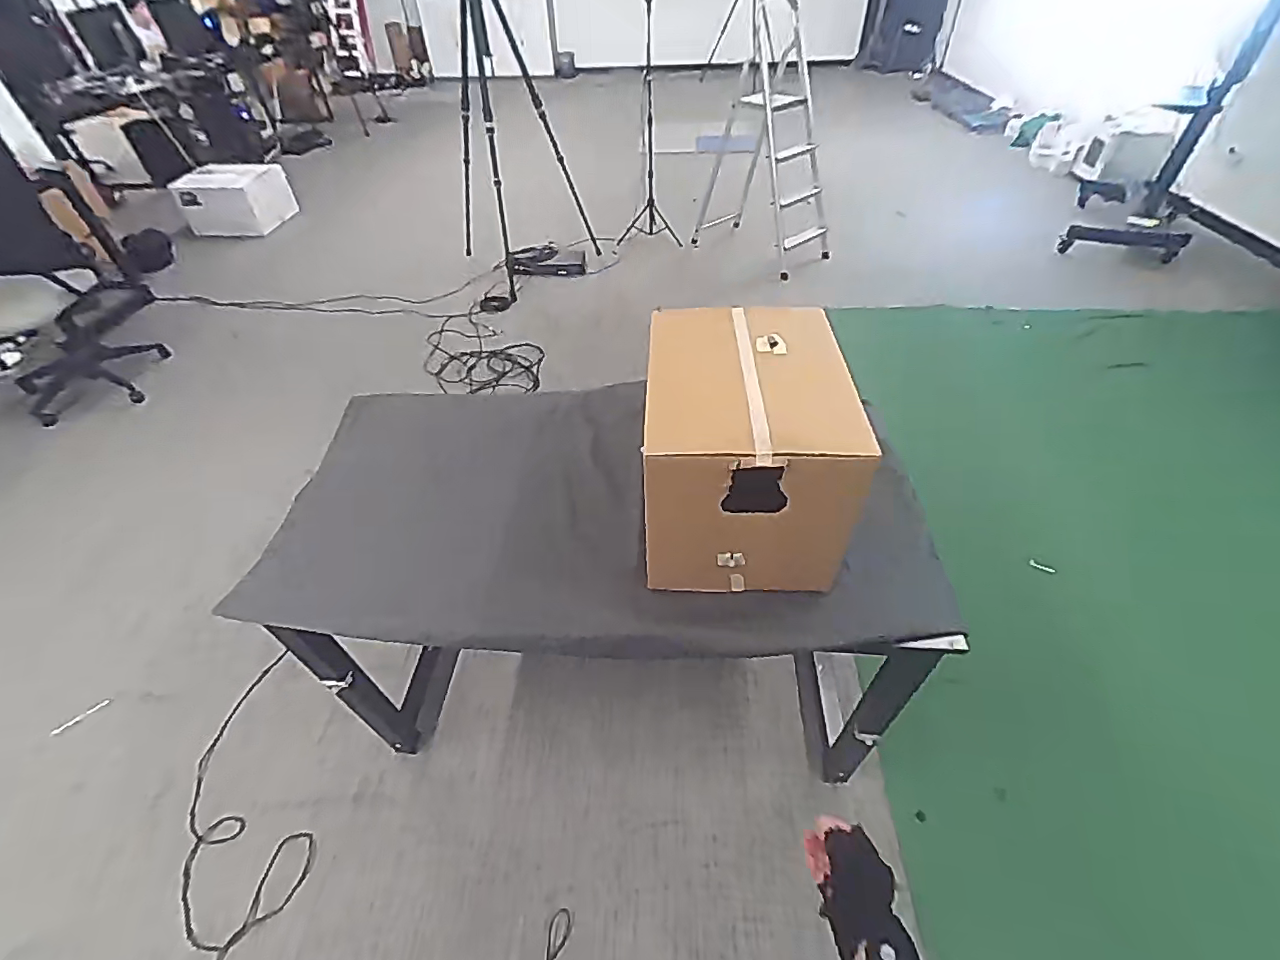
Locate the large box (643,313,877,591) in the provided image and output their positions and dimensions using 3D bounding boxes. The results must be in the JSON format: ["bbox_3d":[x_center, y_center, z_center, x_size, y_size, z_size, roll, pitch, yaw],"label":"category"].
[{"bbox_3d":[0.171,-0.055,0.951,0.320,0.320,0.408,0,44,3],"label":"large box"}]
